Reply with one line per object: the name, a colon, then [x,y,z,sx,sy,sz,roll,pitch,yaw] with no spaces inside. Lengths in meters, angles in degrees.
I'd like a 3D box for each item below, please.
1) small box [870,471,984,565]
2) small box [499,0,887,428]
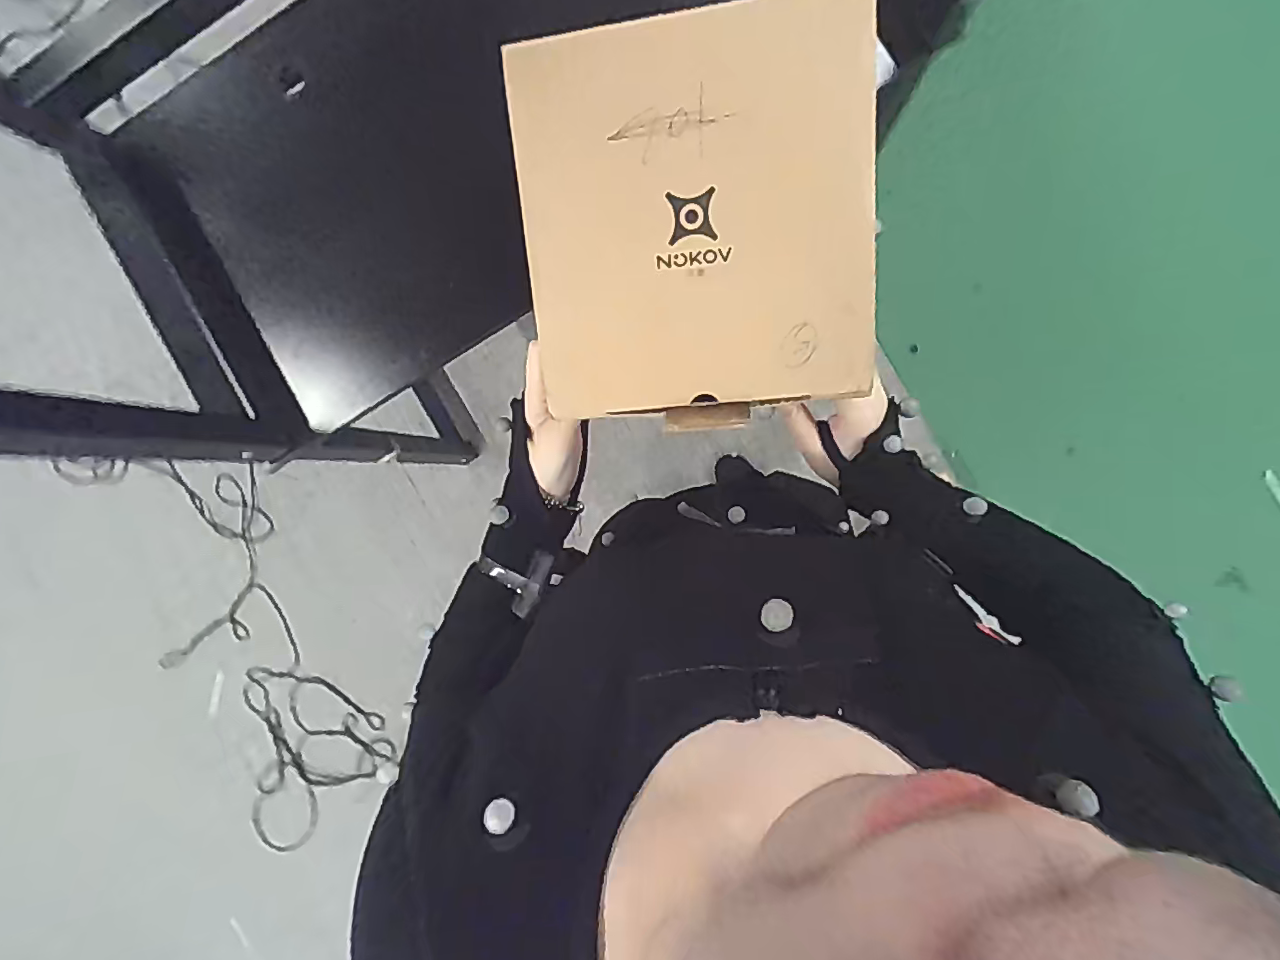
small box: [0.708,0.090,1.357,0.168,0.176,0.179,-27,89,7]
small box: [0.035,-0.134,0.323,0.168,0.176,0.179,-4,102,8]
